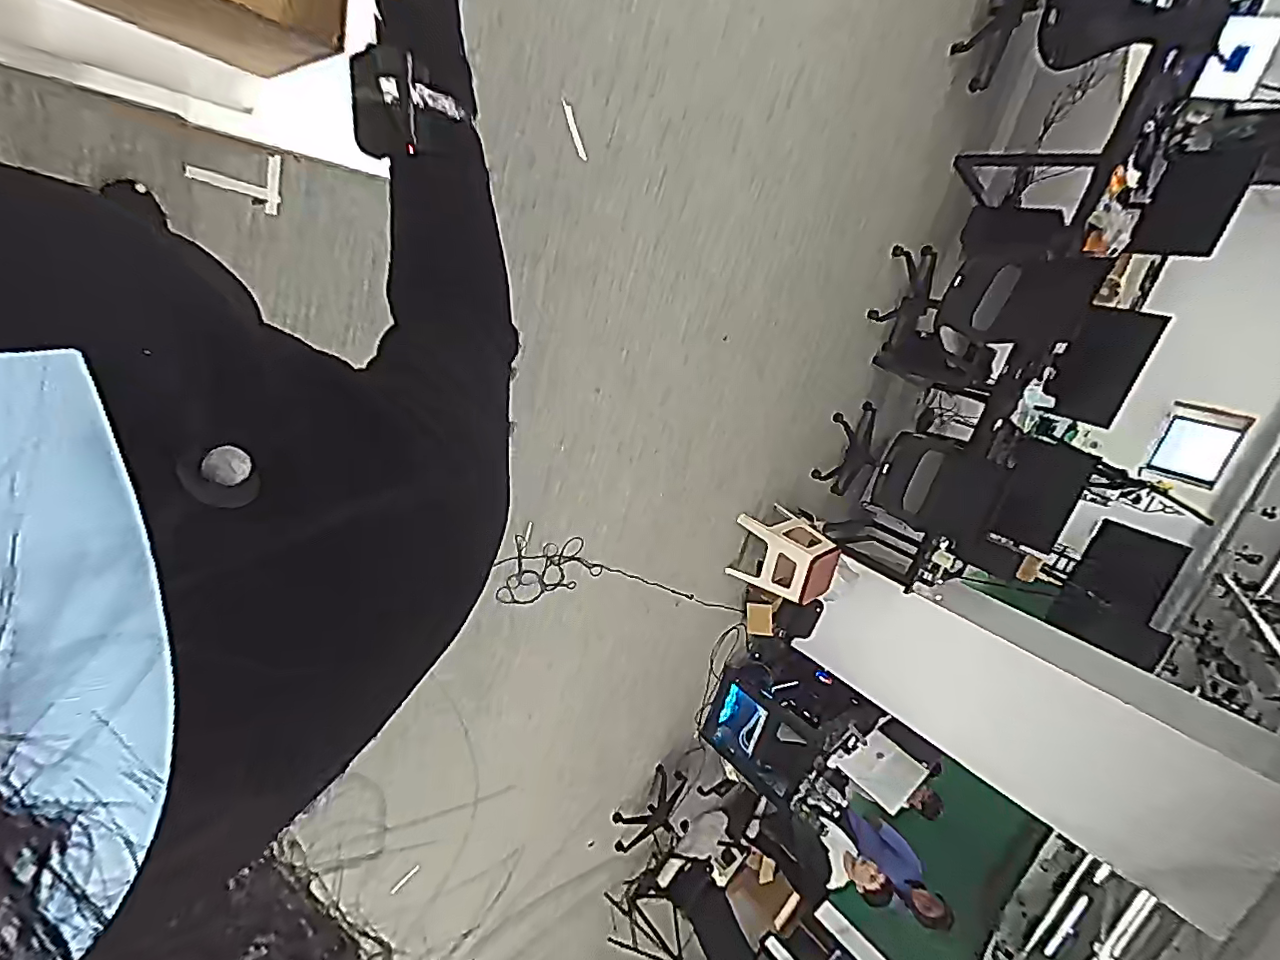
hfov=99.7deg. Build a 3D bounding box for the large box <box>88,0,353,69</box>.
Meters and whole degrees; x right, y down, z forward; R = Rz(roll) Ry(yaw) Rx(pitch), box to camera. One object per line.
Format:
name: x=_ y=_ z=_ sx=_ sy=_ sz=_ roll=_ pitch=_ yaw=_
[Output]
large box: x=-0.425 y=-0.524 z=0.333 sx=0.408 sy=0.320 sz=0.320 roll=-3 pitch=116 yaw=-43
